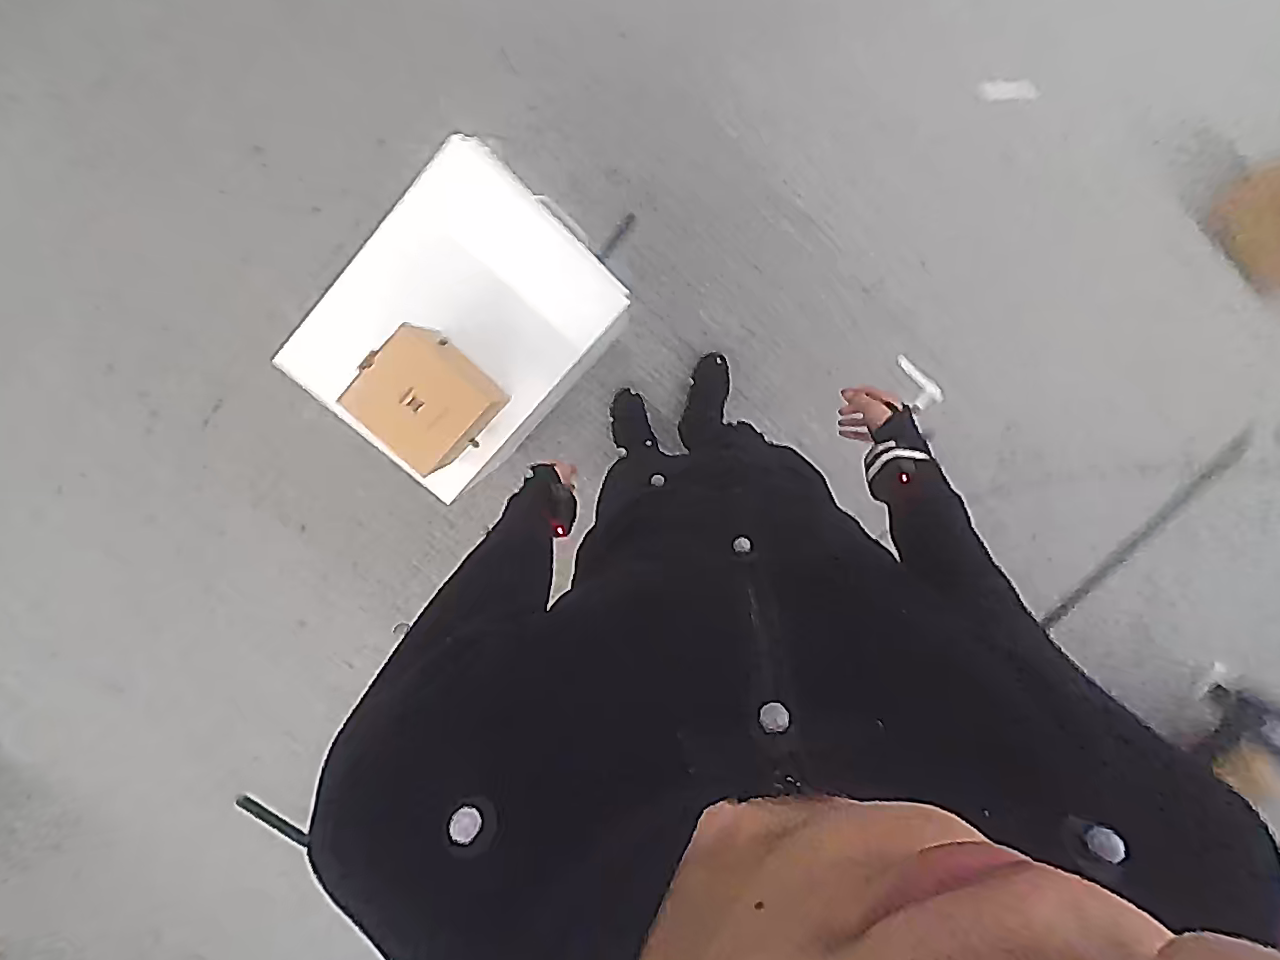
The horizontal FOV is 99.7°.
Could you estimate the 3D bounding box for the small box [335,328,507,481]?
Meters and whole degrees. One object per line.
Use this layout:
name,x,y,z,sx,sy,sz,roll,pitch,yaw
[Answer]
small box,-0.349,-0.124,0.899,0.179,0.176,0.168,42,97,-9
